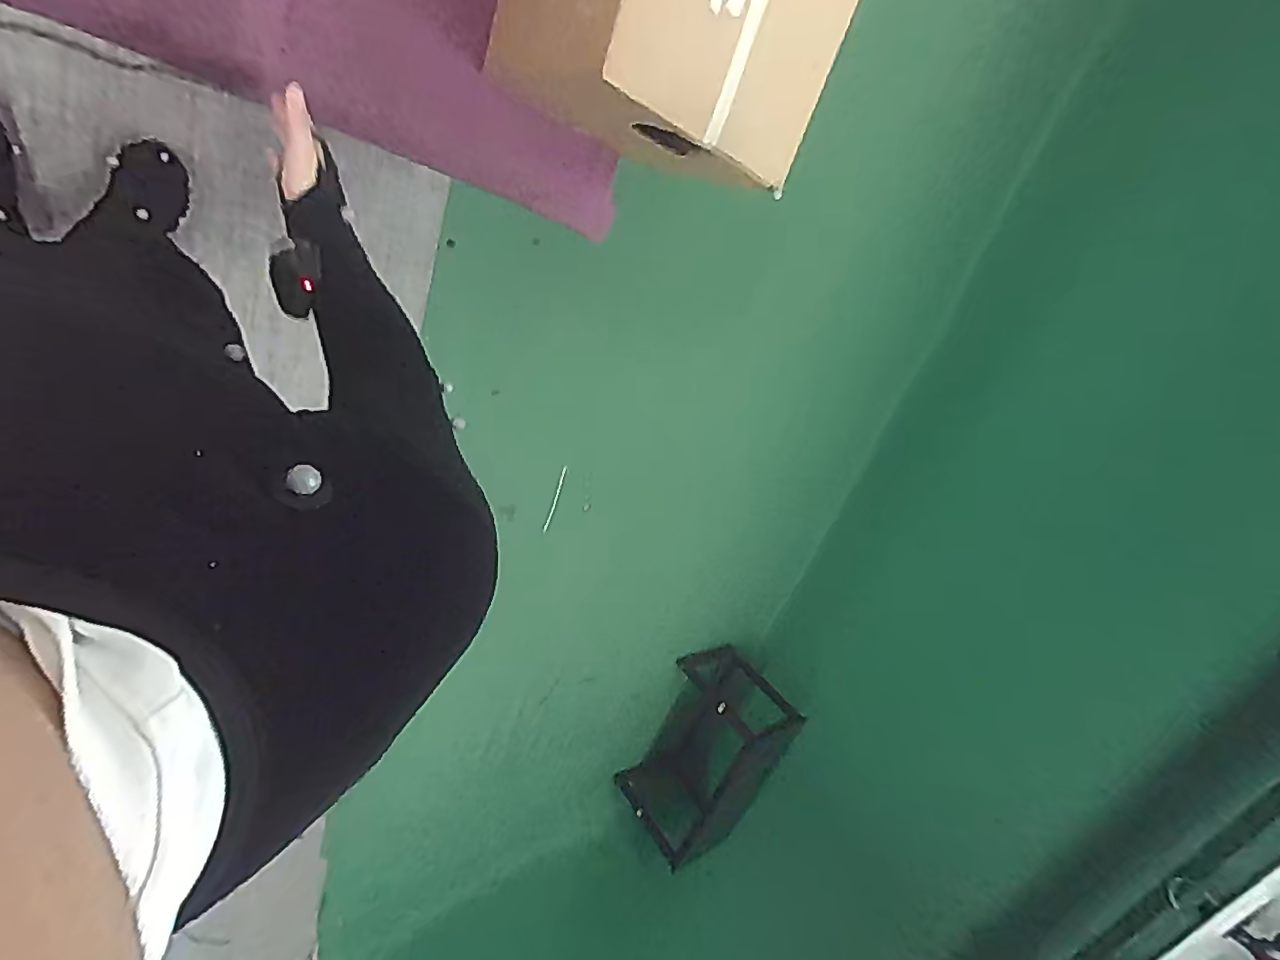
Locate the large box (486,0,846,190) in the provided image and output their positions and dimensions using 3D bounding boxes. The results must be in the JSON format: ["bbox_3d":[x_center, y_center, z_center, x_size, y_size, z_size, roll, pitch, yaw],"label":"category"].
[{"bbox_3d":[0.049,-0.647,0.669,0.320,0.320,0.408,1,120,-42],"label":"large box"}]
